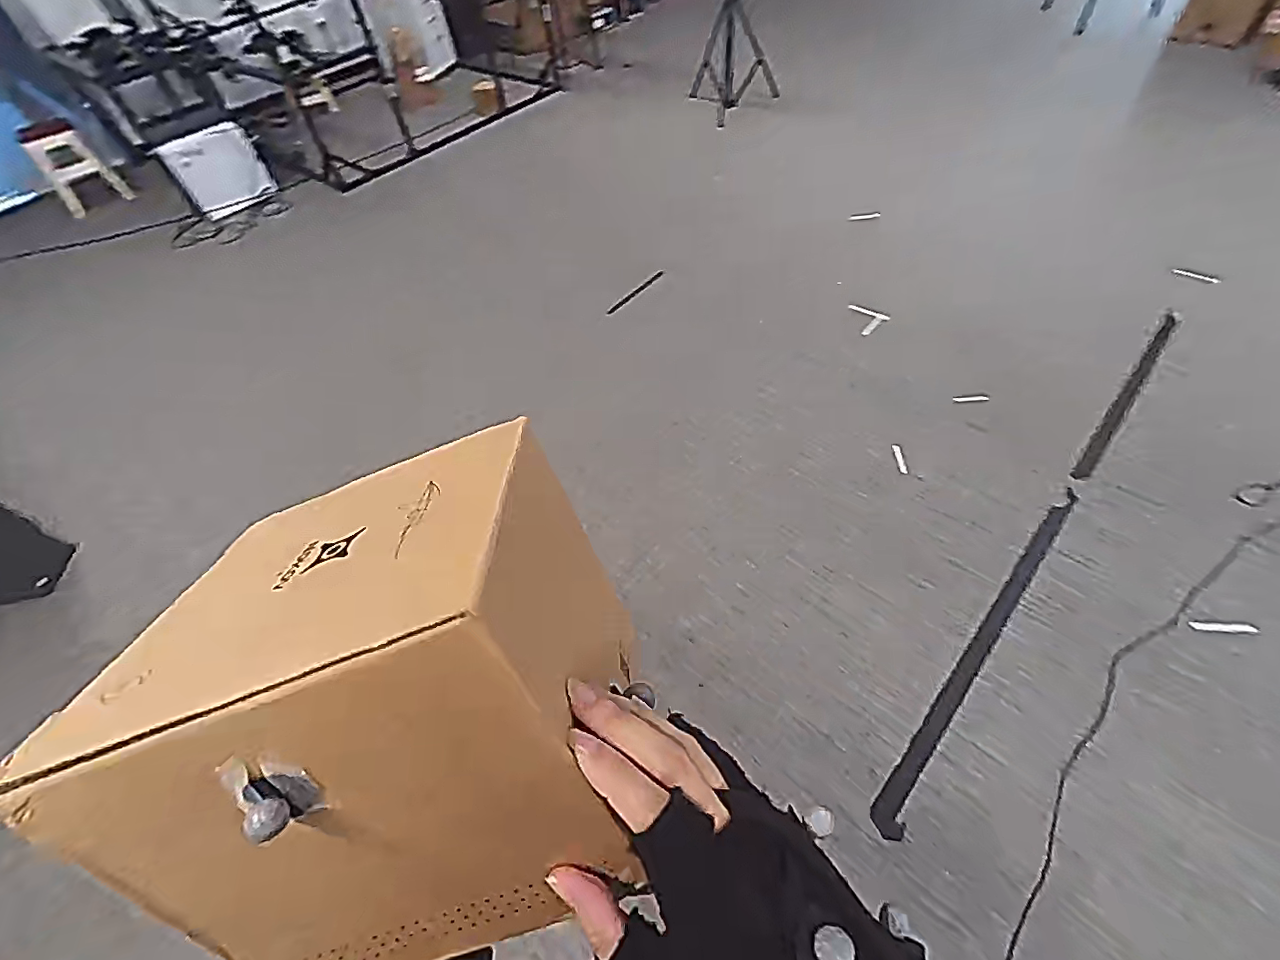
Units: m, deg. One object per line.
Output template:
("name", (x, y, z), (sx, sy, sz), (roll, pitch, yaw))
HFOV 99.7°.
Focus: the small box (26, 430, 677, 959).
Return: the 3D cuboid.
("small box", (-0.097, 0.105, 0.271), (0.179, 0.176, 0.168), (-20, 28, 5))
